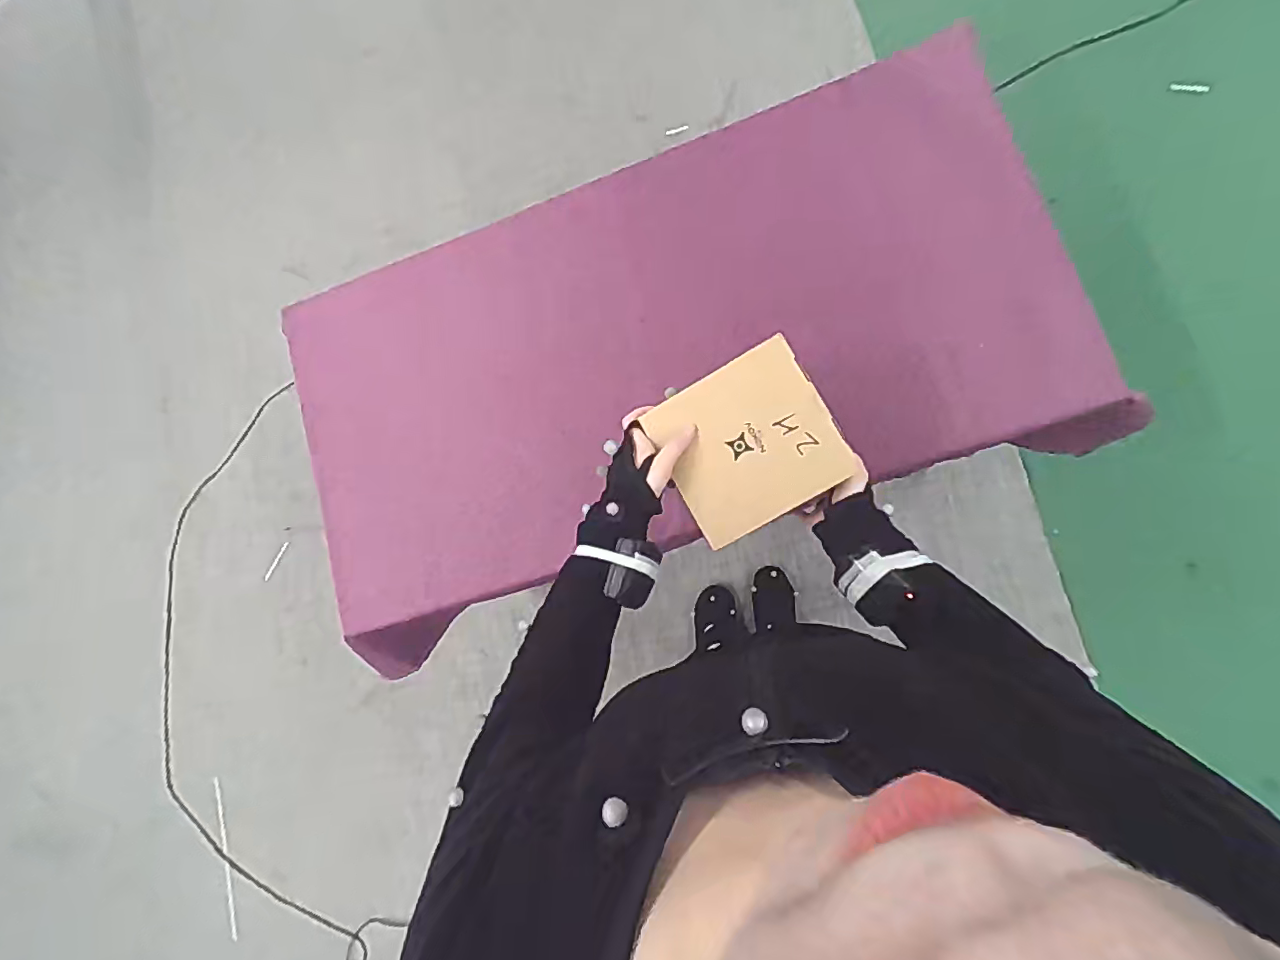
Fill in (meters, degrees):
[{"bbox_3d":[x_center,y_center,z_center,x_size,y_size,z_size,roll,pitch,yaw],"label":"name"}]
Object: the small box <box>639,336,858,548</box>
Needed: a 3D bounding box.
[{"bbox_3d":[0.122,-0.039,0.641,0.179,0.176,0.168,-30,87,7],"label":"small box"}]
